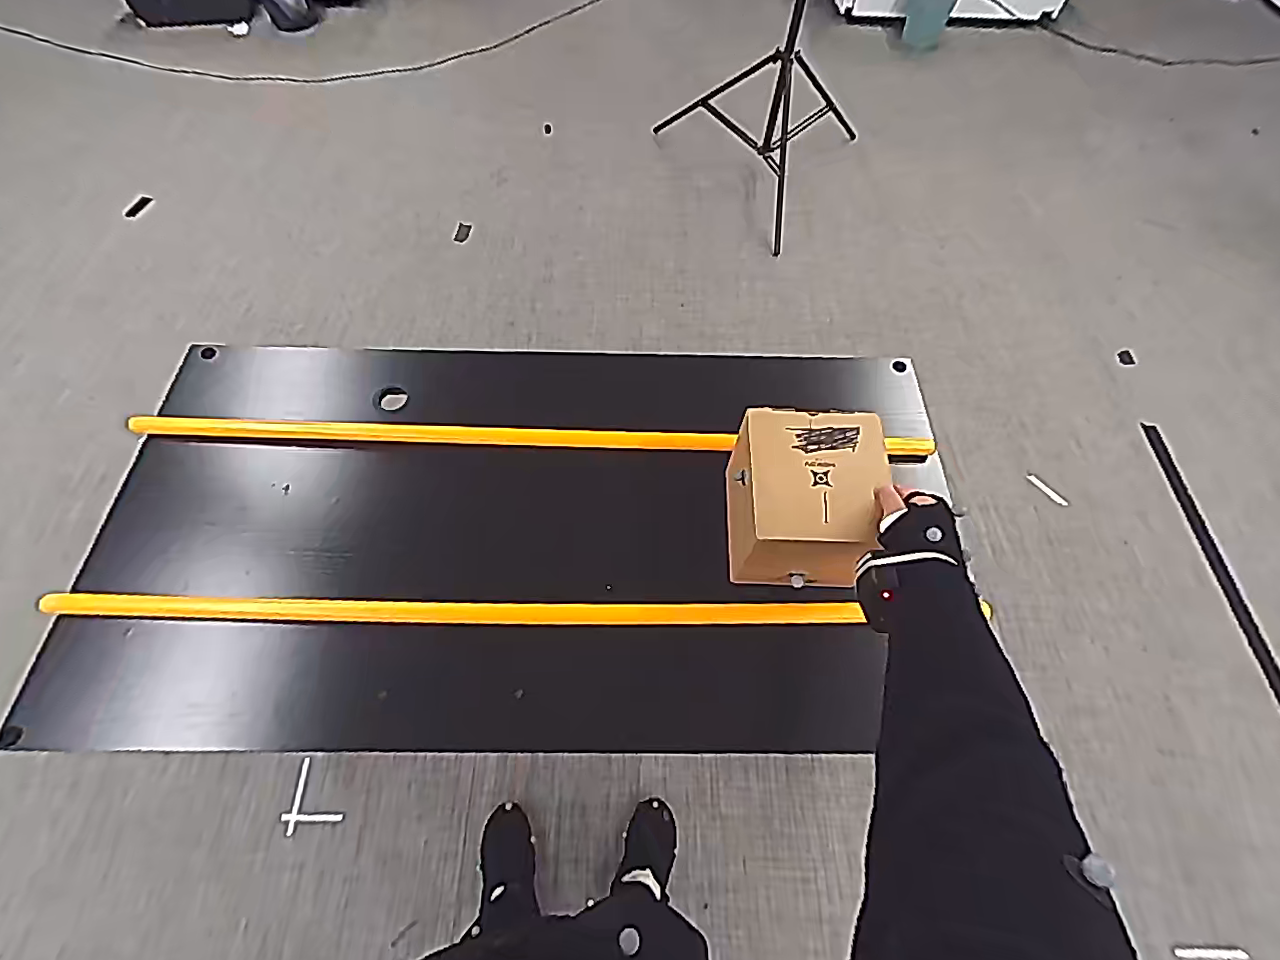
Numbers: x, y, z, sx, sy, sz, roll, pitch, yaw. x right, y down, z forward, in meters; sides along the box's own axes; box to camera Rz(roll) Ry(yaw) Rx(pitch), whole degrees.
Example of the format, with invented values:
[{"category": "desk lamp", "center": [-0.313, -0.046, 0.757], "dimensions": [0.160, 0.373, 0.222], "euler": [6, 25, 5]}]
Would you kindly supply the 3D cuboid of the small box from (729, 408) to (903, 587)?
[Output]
[{"category": "small box", "center": [0.212, 0.027, 0.705], "dimensions": [0.168, 0.176, 0.179], "euler": [2, 63, 1]}]
